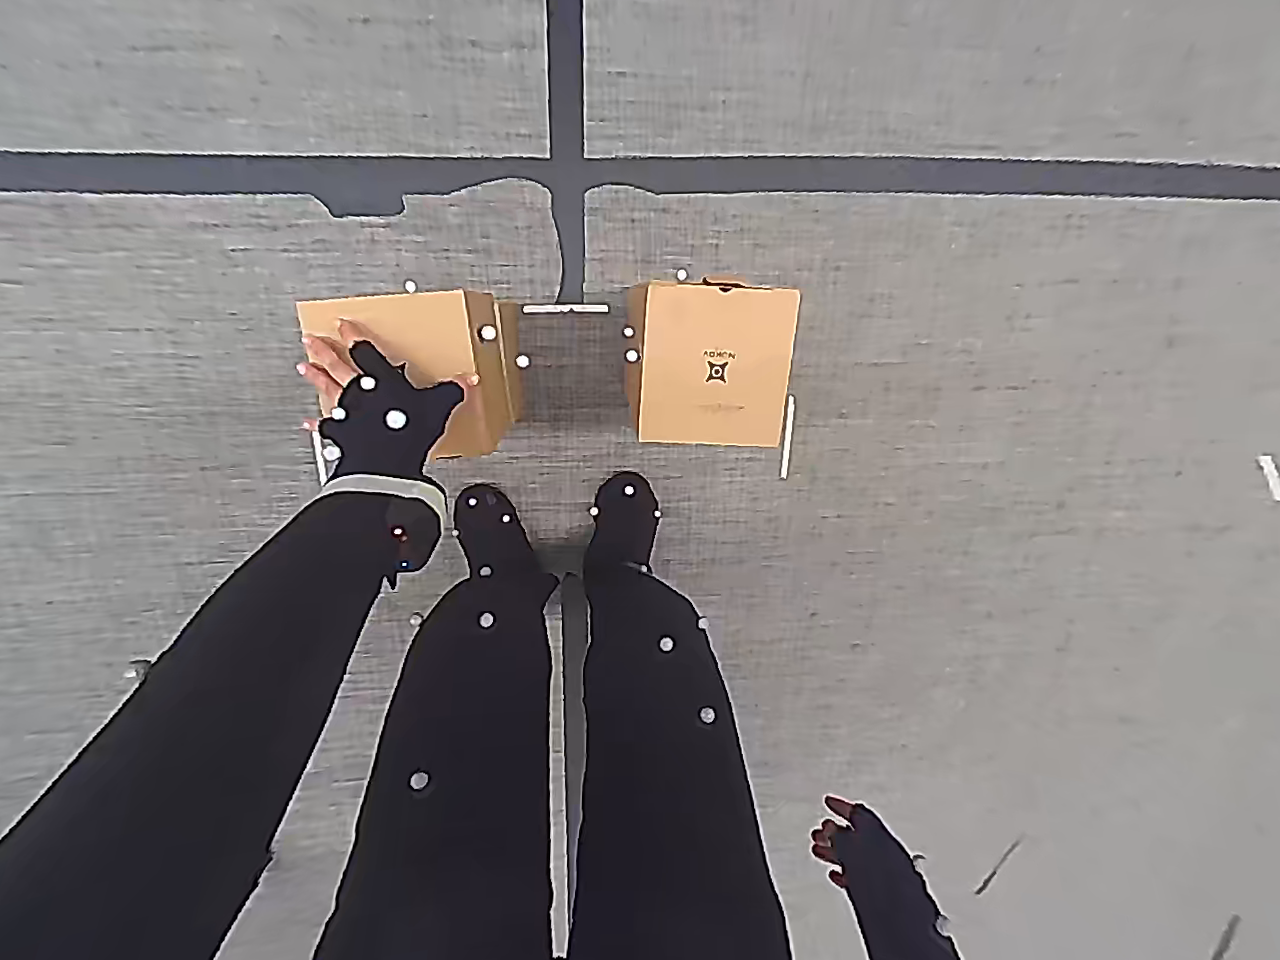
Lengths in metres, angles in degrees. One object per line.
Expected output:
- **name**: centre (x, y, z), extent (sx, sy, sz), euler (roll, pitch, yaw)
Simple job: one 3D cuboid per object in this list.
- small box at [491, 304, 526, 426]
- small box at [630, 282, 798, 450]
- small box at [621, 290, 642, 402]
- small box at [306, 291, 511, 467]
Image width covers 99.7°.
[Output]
- **small box**: centre (-0.271, -0.172, 0.802), extent (0.179, 0.176, 0.168), euler (-4, 108, -5)
- **small box**: centre (0.077, -0.146, 0.673), extent (0.168, 0.176, 0.179), euler (3, 109, -5)
- **small box**: centre (0.071, -0.200, 0.827), extent (0.179, 0.176, 0.168), euler (2, 107, -8)
- **small box**: centre (-0.256, -0.126, 0.645), extent (0.168, 0.176, 0.179), euler (-5, 109, -3)
